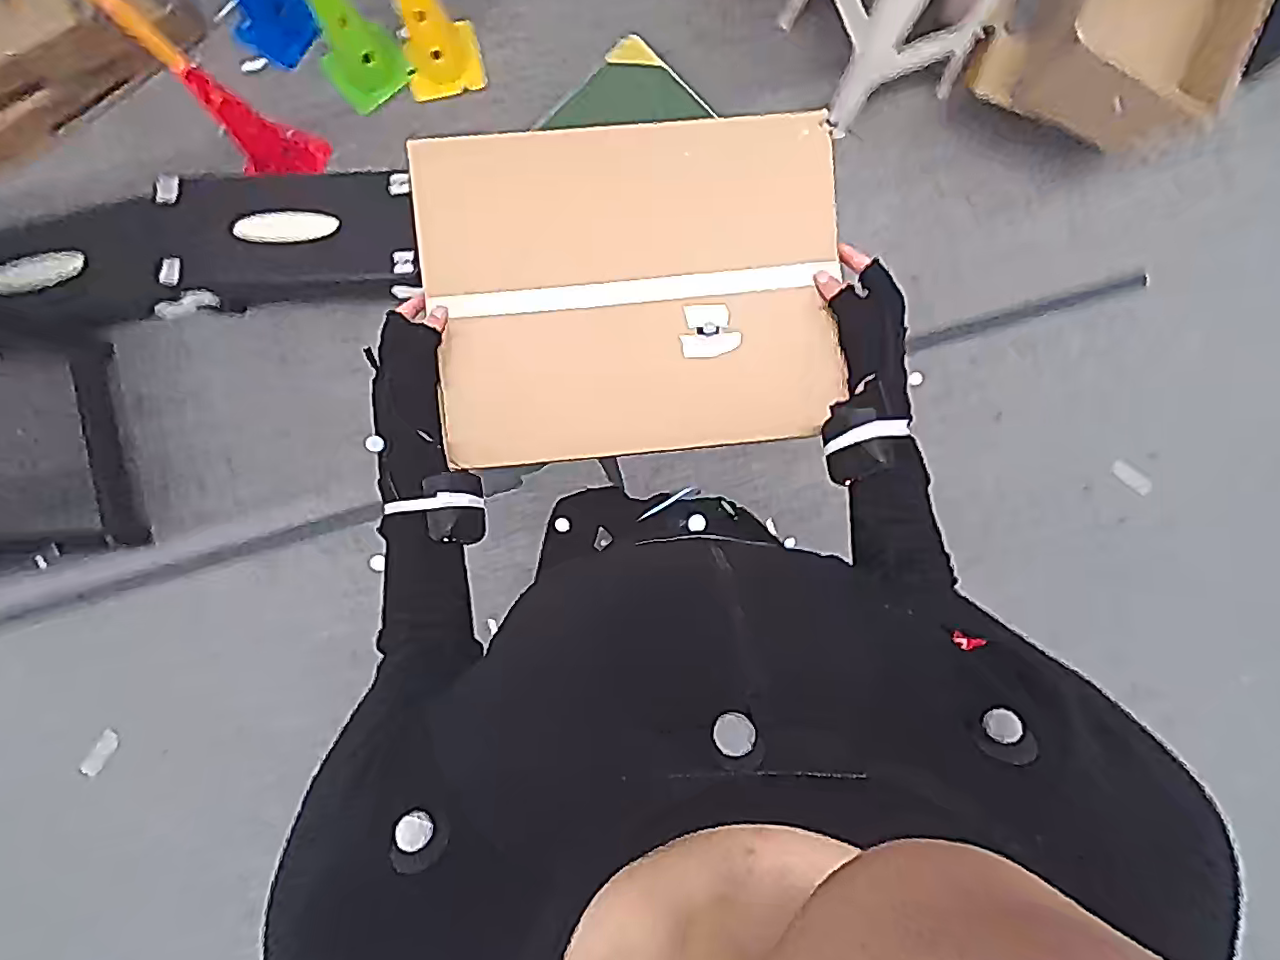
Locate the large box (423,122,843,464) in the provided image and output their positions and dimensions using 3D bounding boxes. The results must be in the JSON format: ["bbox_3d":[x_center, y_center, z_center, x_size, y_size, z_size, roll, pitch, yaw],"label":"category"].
[{"bbox_3d":[-0.010,-0.196,0.688,0.408,0.320,0.320,-5,95,-4],"label":"large box"}]
